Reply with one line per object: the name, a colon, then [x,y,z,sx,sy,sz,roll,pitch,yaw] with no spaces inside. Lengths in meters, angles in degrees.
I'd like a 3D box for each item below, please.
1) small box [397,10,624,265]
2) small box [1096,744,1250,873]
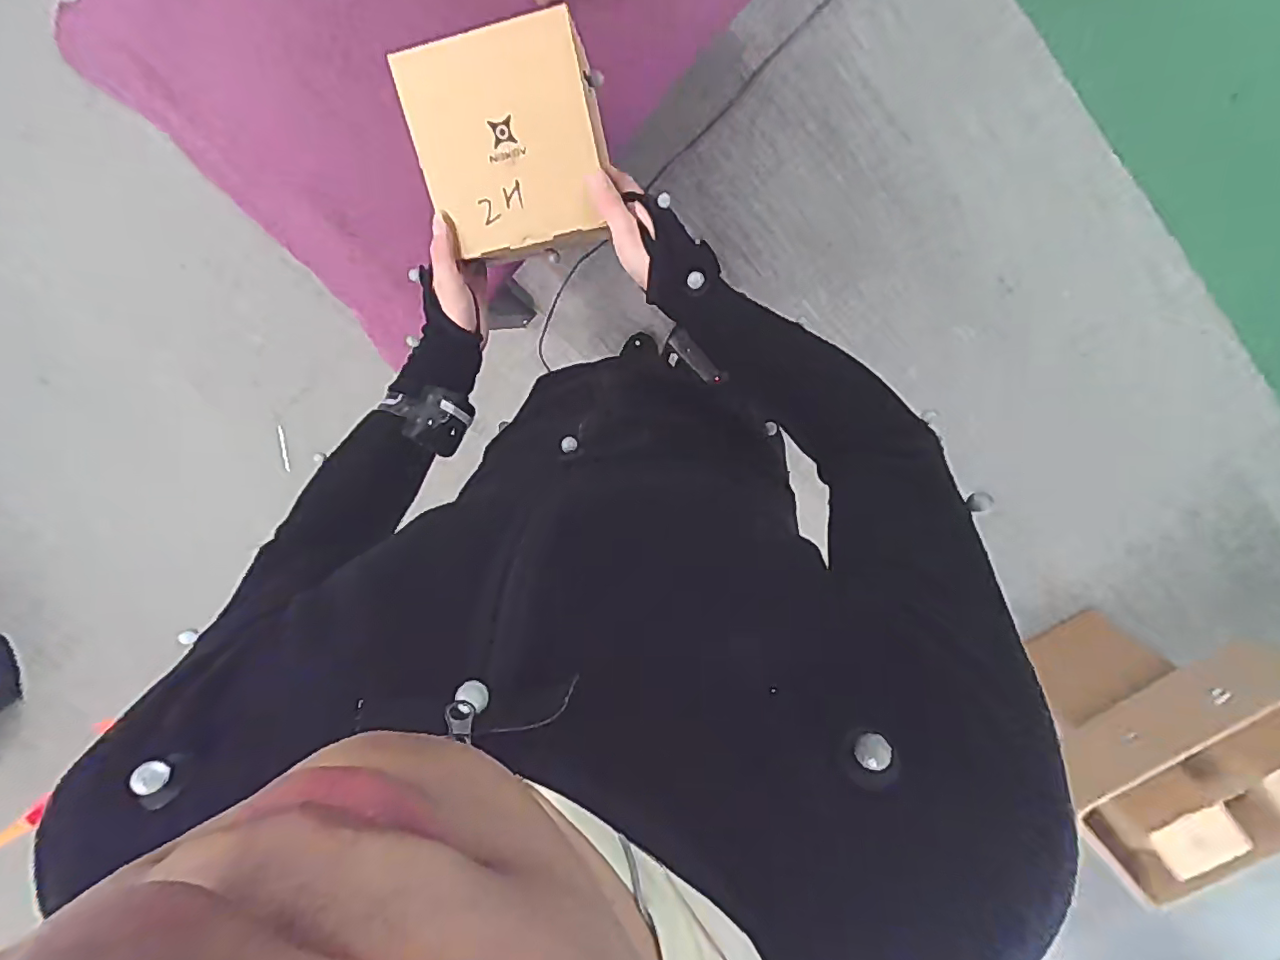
small box: [-0.115,-0.331,0.564,0.168,0.176,0.179,-10,111,6]
small box: [1.281,0.789,1.312,0.168,0.176,0.179,-40,101,13]
